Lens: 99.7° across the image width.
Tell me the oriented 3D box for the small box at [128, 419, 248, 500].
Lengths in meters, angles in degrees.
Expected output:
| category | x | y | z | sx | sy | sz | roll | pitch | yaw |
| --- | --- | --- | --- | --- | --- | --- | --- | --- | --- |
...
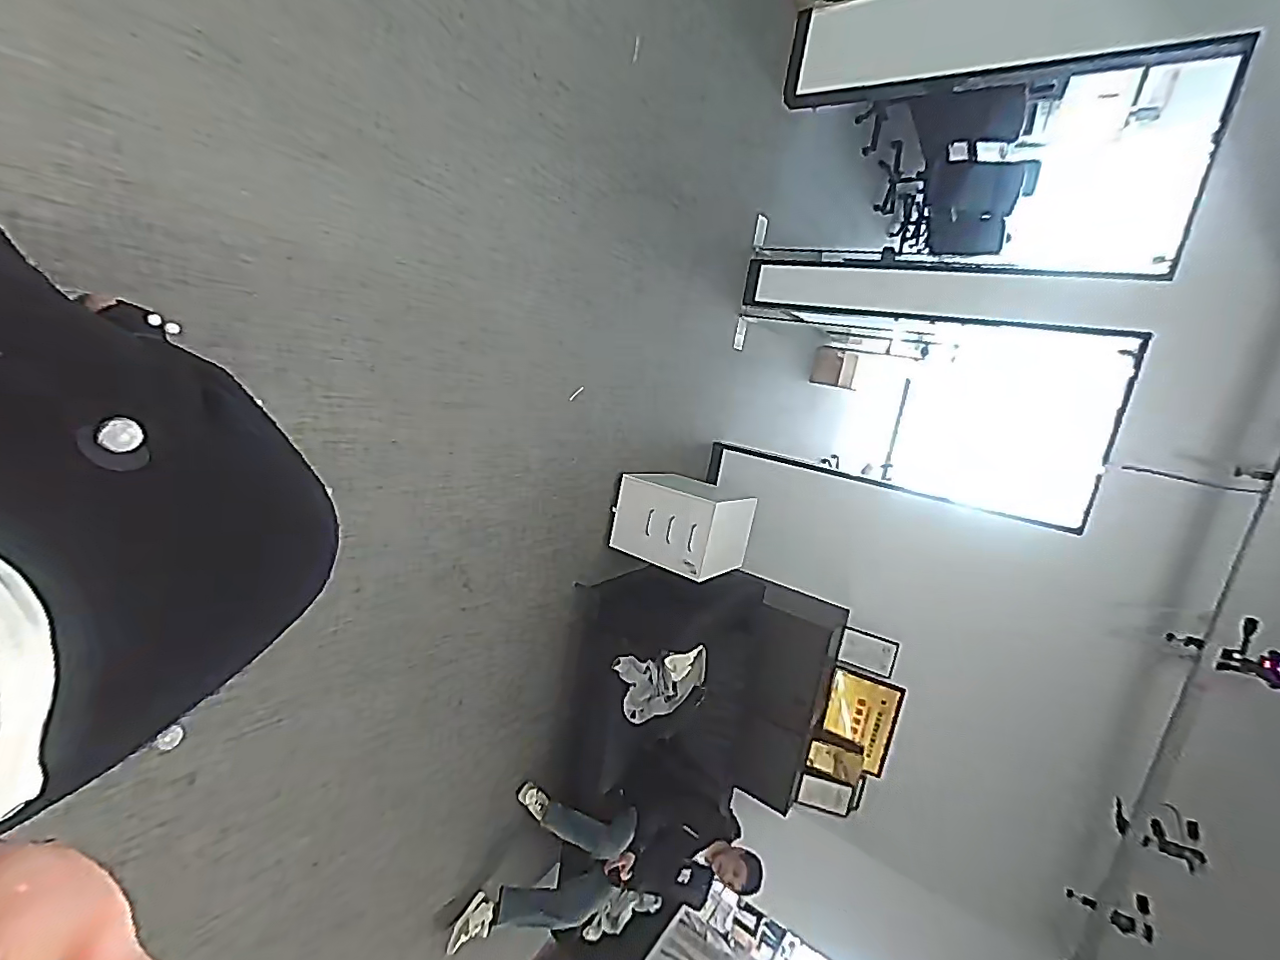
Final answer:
| category | x | y | z | sx | sy | sz | roll | pitch | yaw |
| --- | --- | --- | --- | --- | --- | --- | --- | --- | --- |
| small box | -1.038 | -0.029 | 1.274 | 0.179 | 0.176 | 0.168 | -39 | 137 | -45 |
